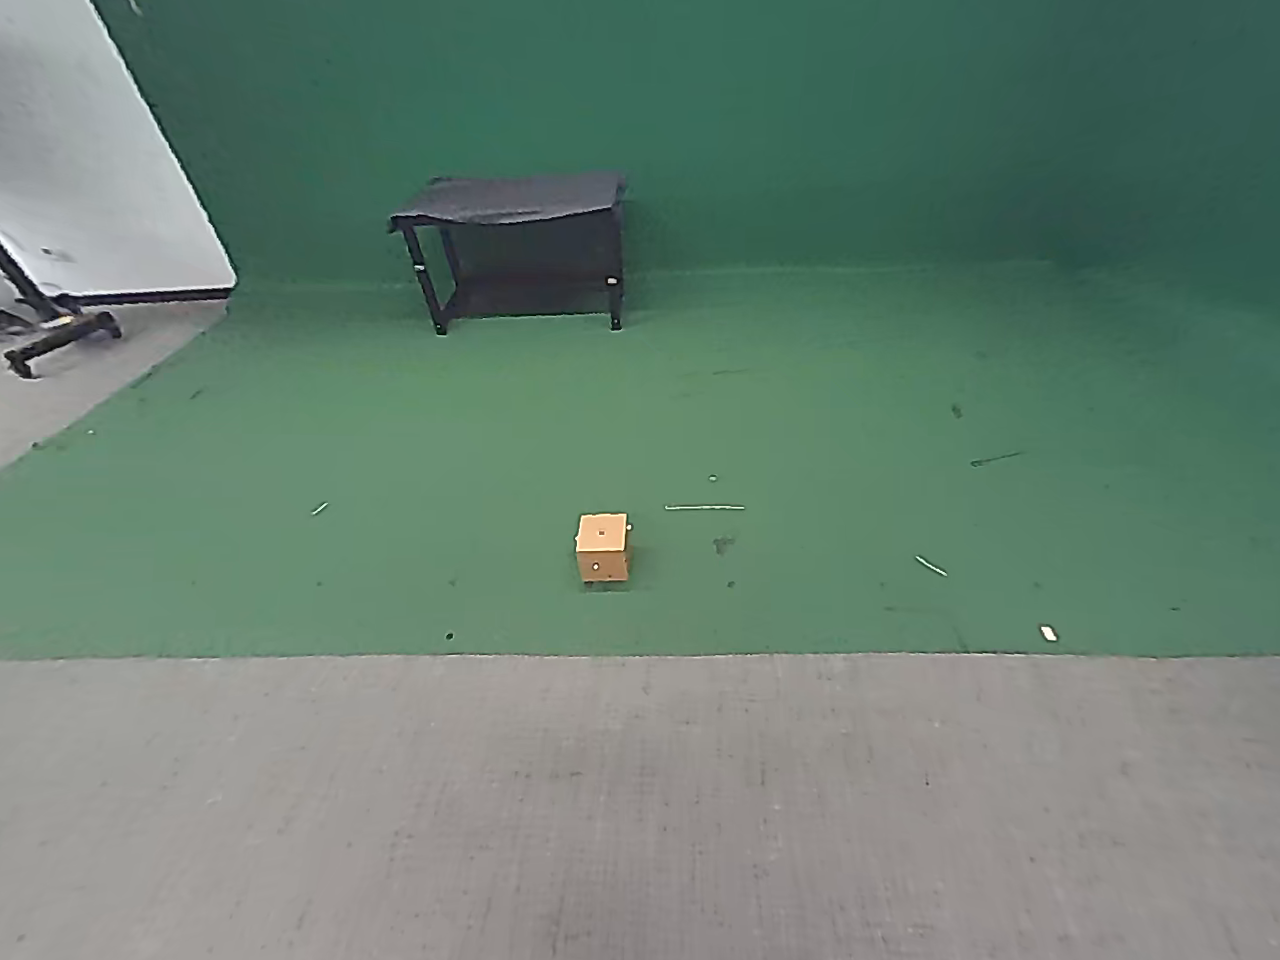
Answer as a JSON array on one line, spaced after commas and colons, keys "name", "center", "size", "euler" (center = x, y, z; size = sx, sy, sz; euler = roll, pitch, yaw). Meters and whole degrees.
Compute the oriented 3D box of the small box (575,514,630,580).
[{"name": "small box", "center": [-0.126, 0.240, 1.910], "size": [0.168, 0.176, 0.179], "euler": [-2, 40, 3]}]
